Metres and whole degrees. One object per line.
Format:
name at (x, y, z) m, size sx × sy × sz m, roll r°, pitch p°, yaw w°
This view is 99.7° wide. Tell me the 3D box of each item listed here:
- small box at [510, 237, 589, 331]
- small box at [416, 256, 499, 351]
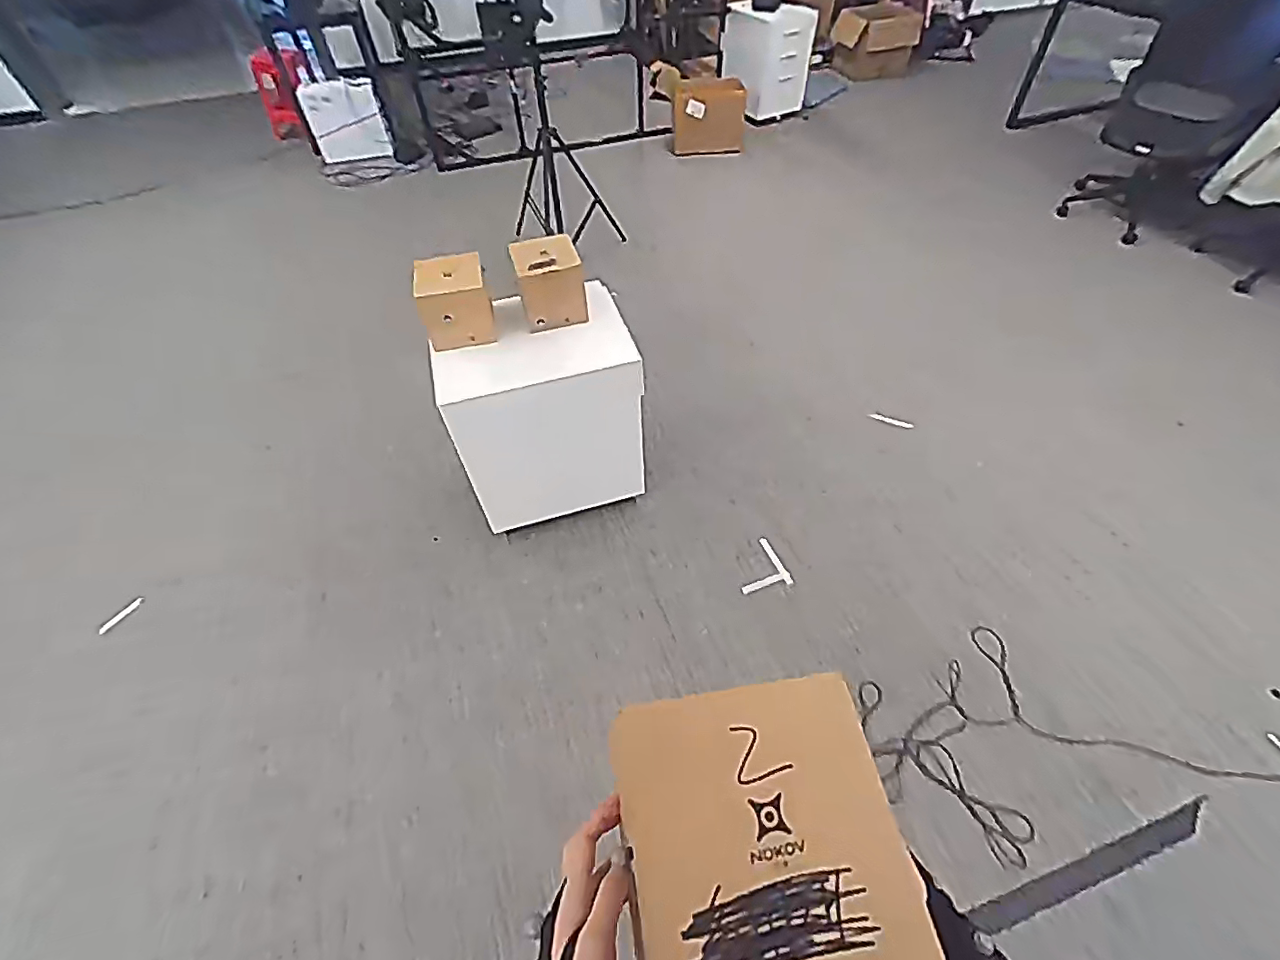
small box at (-0.239, -0.520, 1.454) m, size 0.168 × 0.176 × 0.179 m, roll -14°, pitch 52°, yaw -8°
small box at (-0.473, -0.455, 1.413) m, size 0.168 × 0.176 × 0.179 m, roll -12°, pitch 52°, yaw -8°
